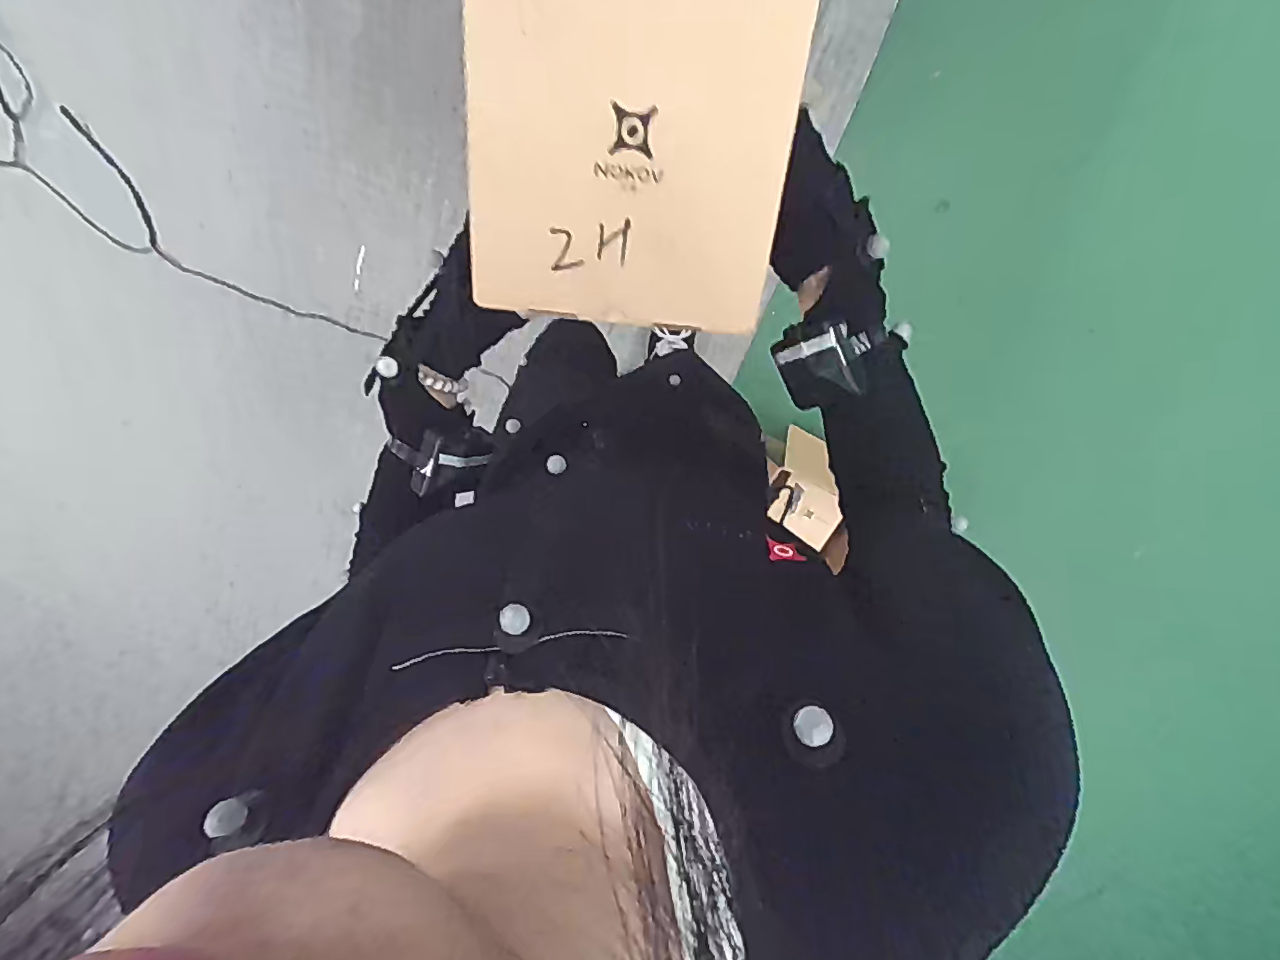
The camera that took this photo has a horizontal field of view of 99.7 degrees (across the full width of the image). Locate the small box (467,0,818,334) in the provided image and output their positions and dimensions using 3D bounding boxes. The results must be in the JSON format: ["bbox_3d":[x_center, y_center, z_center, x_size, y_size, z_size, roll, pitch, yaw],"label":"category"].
[{"bbox_3d":[-0.006,-0.204,0.347,0.168,0.176,0.179,6,115,-2],"label":"small box"}]
